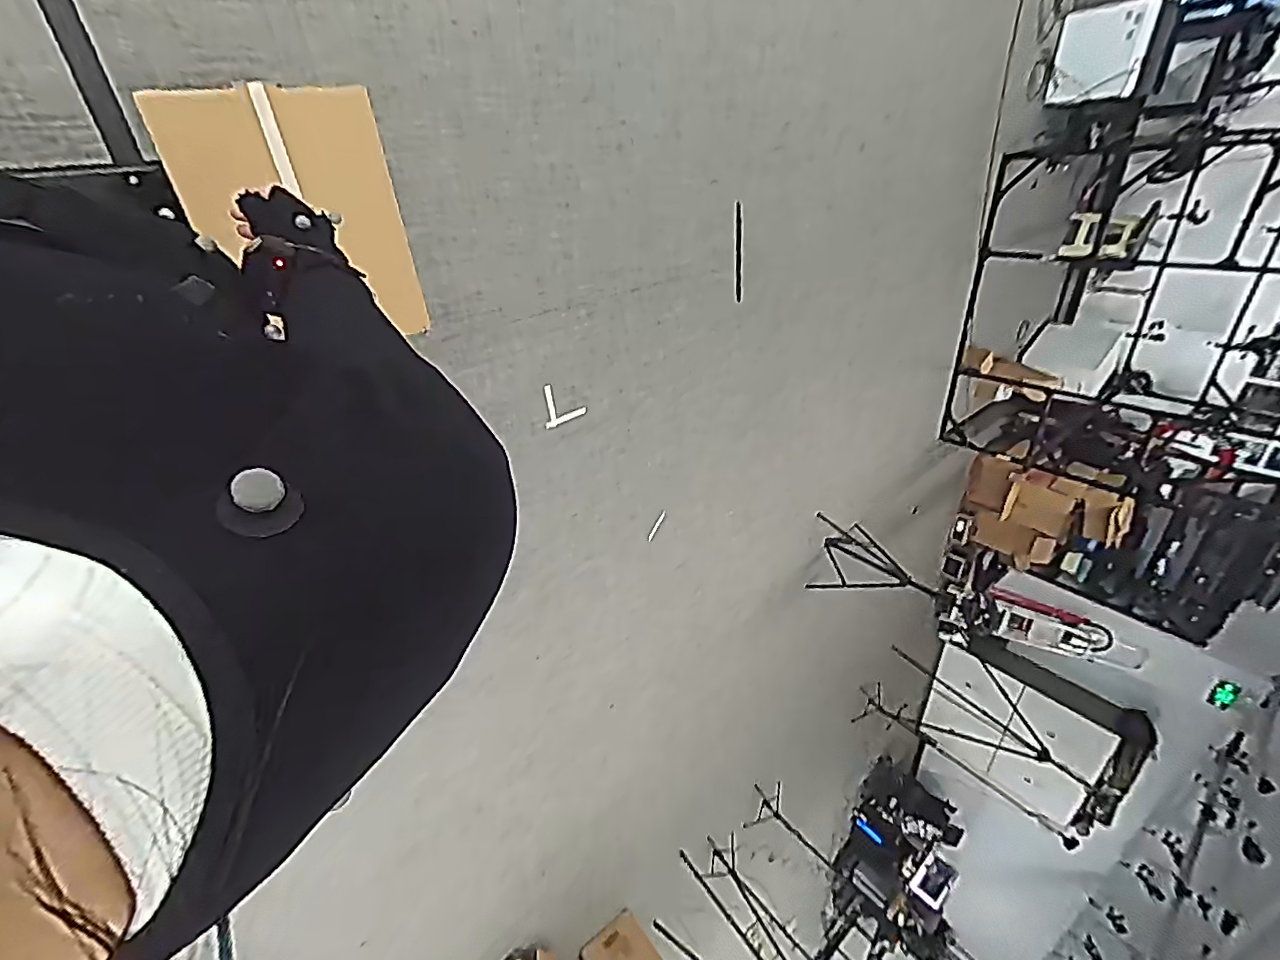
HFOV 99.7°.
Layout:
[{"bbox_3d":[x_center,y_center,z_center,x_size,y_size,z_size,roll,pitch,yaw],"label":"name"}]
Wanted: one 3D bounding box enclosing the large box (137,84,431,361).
[{"bbox_3d":[-0.645,-0.491,1.032,0.320,0.320,0.408,-21,126,-25],"label":"large box"}]
